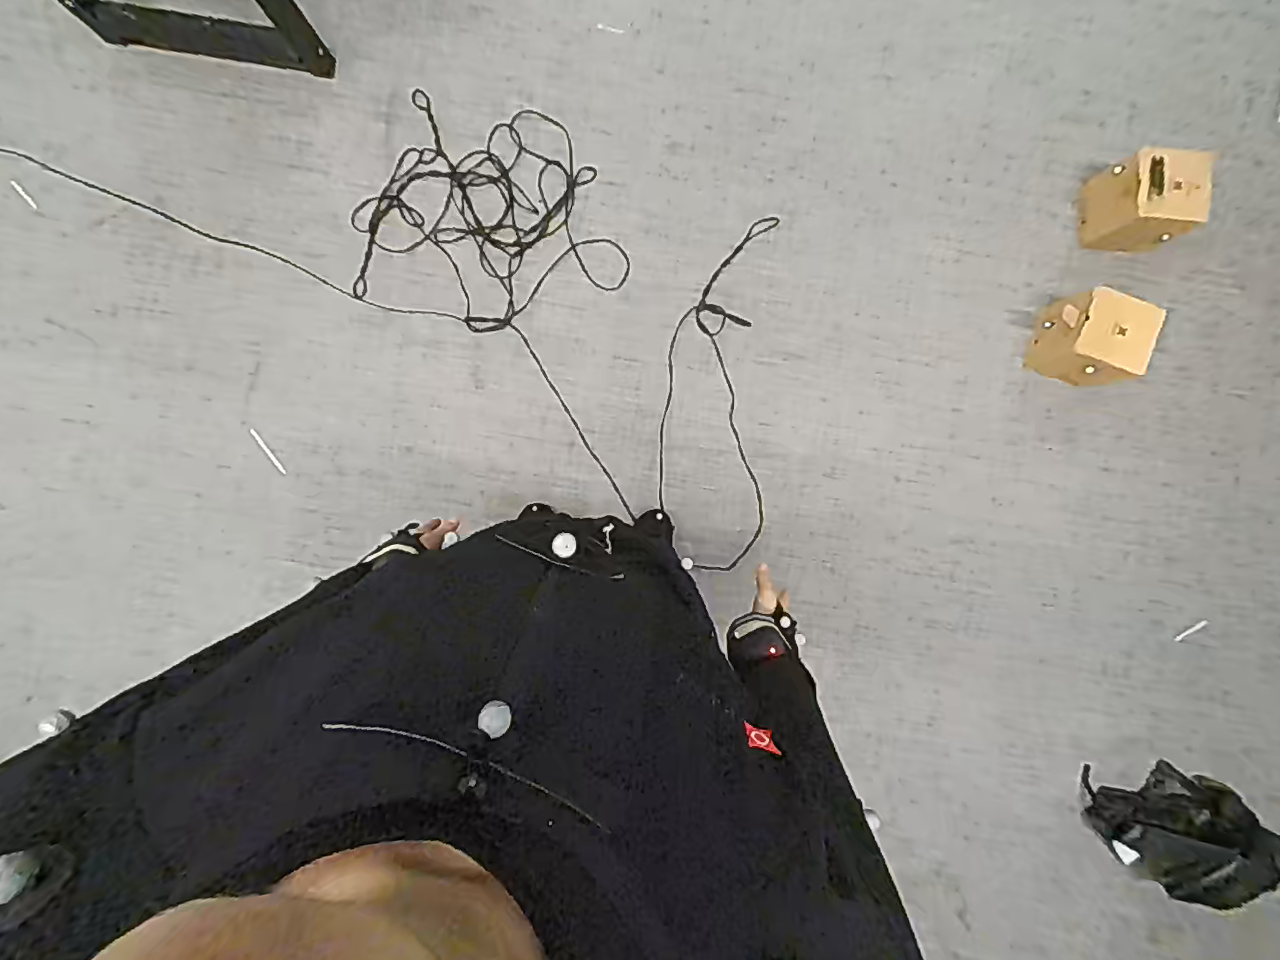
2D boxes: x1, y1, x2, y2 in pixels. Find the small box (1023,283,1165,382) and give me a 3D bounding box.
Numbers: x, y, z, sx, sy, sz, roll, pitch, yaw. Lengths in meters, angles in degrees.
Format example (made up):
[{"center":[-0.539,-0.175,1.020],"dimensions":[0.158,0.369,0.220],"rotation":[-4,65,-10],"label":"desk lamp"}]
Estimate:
[{"center":[1.095,-0.349,1.317],"dimensions":[0.179,0.176,0.168],"rotation":[20,90,-1],"label":"small box"}]
